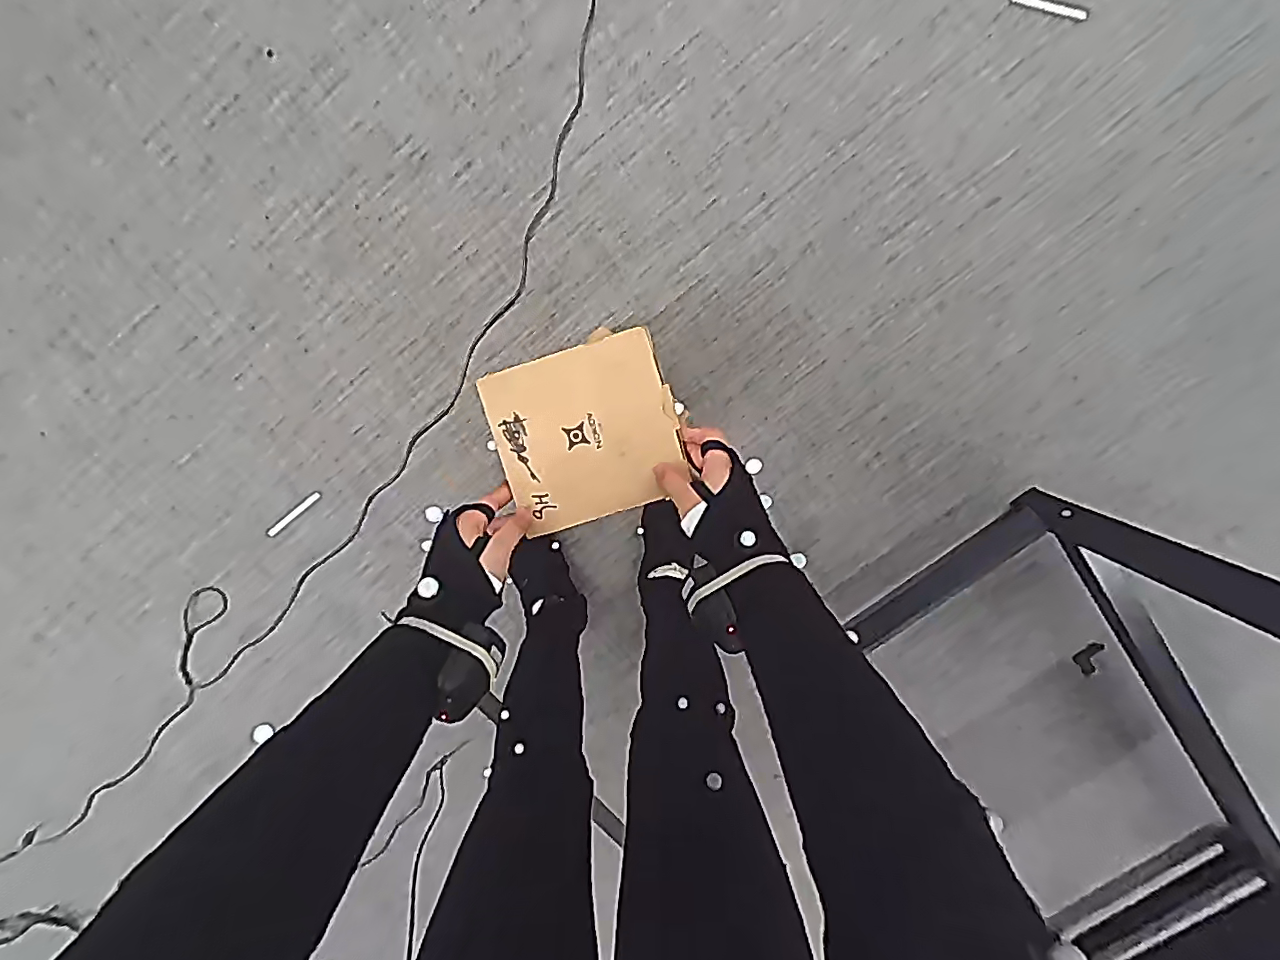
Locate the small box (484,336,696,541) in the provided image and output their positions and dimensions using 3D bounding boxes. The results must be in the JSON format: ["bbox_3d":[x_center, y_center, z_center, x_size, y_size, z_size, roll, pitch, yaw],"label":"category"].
[{"bbox_3d":[-0.048,-0.046,0.612,0.179,0.176,0.168,-17,93,3],"label":"small box"}]
